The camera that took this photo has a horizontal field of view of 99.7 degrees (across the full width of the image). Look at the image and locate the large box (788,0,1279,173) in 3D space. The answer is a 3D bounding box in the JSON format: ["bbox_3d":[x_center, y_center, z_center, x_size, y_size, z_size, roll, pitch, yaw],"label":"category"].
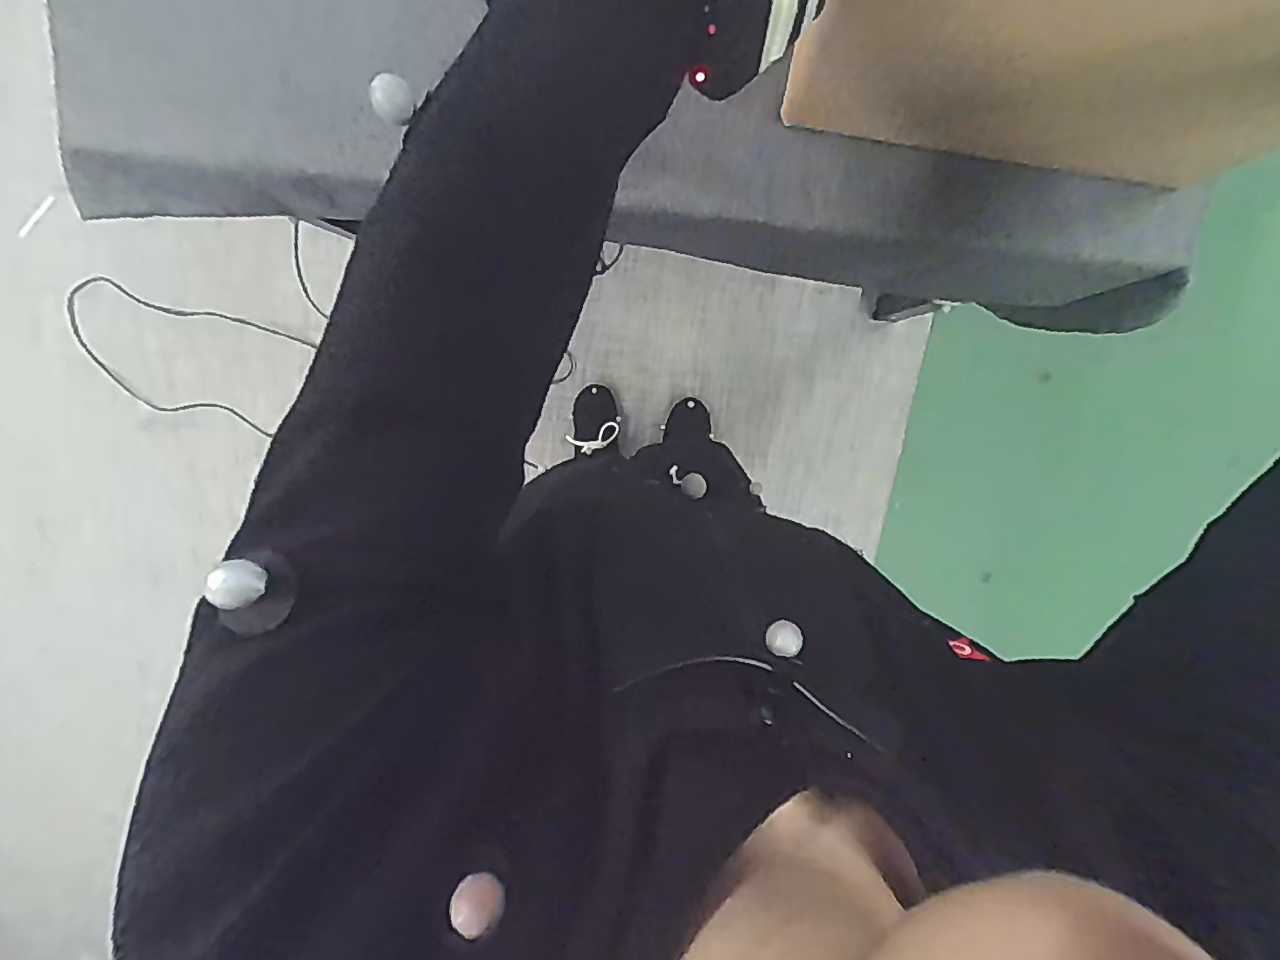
[{"bbox_3d":[0.352,-0.449,0.361,0.408,0.320,0.320,10,102,1],"label":"large box"}]
